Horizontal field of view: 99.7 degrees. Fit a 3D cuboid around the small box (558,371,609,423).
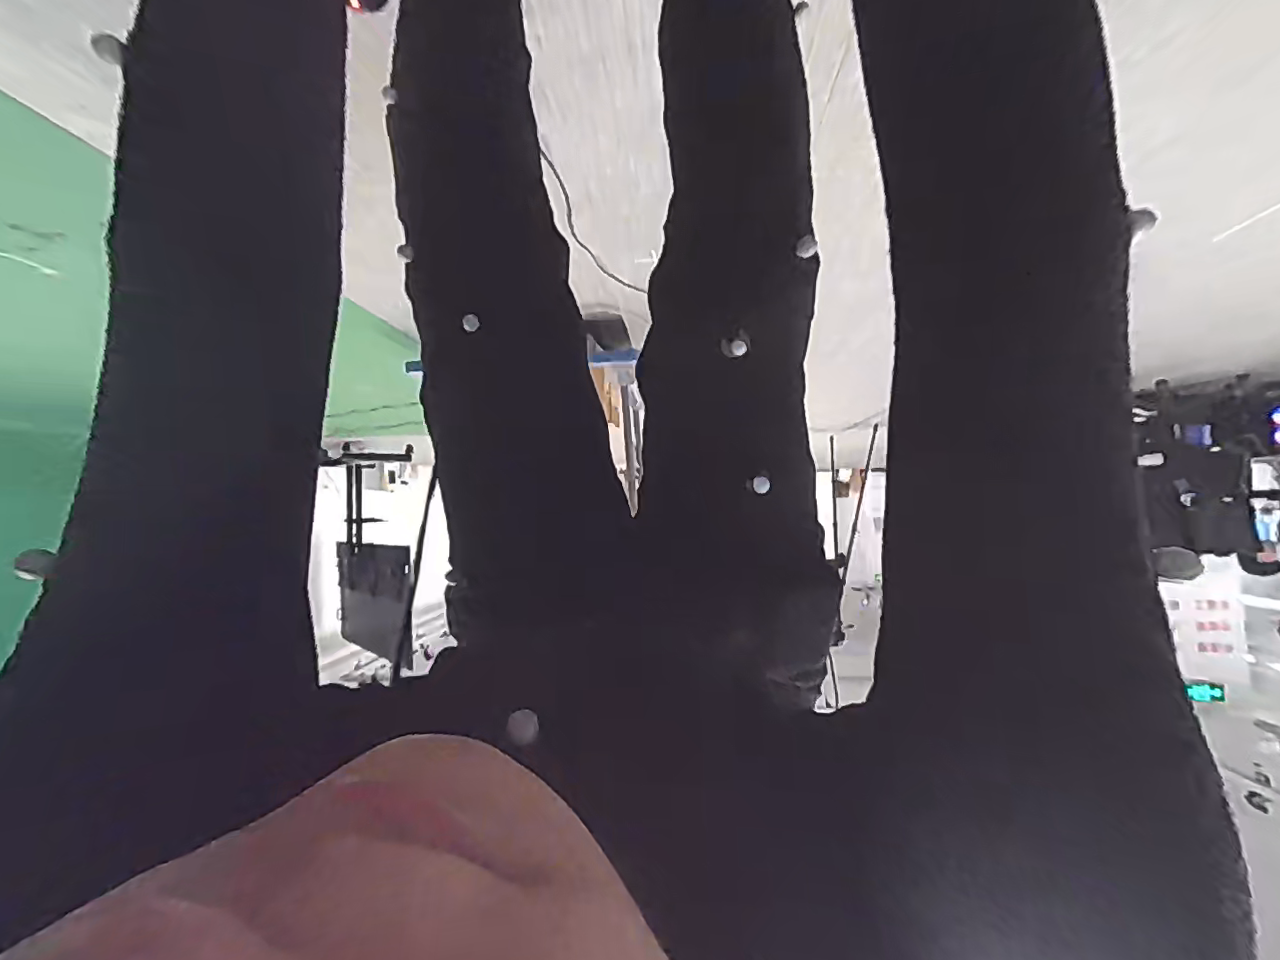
[{"bbox_3d":[-0.211,-0.312,2.039,0.179,0.176,0.168,-1,176,1],"label":"small box"}]
